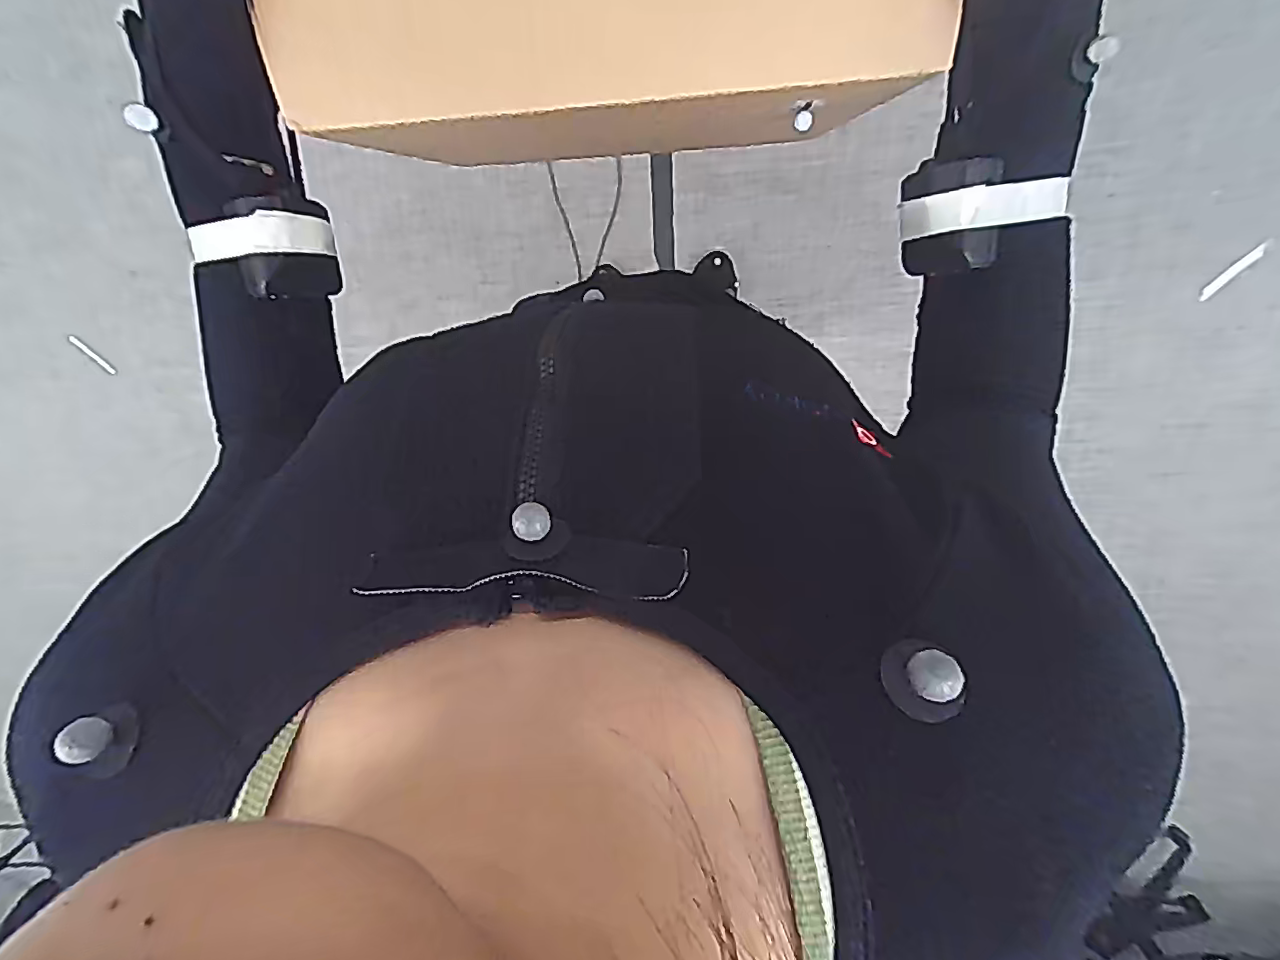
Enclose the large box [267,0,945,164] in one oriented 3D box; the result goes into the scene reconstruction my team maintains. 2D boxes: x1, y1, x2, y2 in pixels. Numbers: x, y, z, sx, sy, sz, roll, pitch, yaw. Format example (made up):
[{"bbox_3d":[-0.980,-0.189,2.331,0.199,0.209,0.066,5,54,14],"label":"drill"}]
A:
[{"bbox_3d":[-0.024,-0.437,0.404,0.408,0.320,0.320,-3,116,3],"label":"large box"}]
